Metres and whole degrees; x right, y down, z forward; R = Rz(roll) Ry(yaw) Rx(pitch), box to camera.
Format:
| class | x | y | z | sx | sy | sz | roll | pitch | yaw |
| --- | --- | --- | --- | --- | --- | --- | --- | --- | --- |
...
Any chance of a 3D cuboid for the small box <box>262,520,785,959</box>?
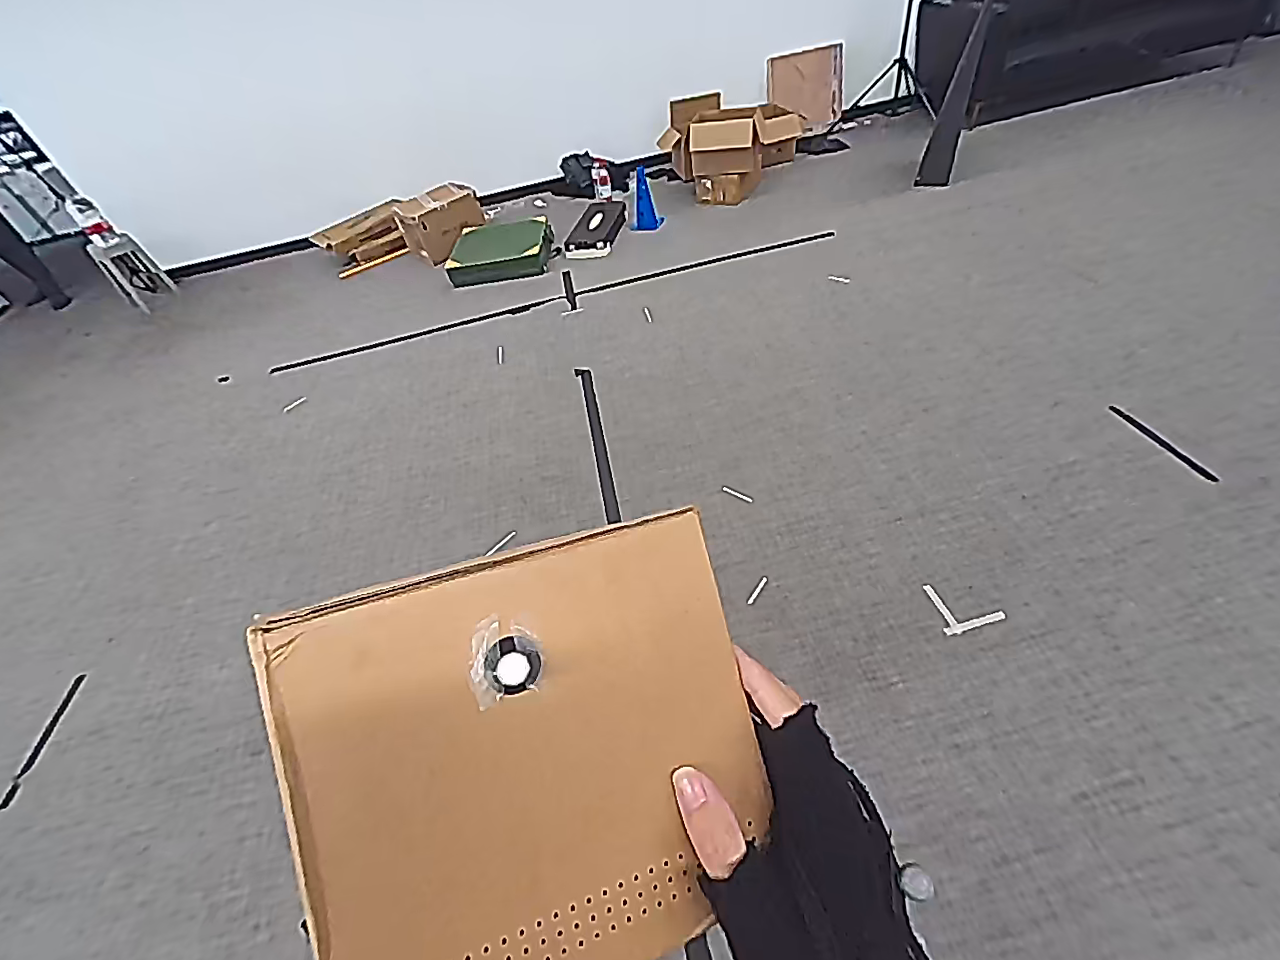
| class | x | y | z | sx | sy | sz | roll | pitch | yaw |
| --- | --- | --- | --- | --- | --- | --- | --- | --- | --- |
| small box | -0.054 | 0.128 | 0.283 | 0.179 | 0.168 | 0.176 | -13 | 86 | -17 |
